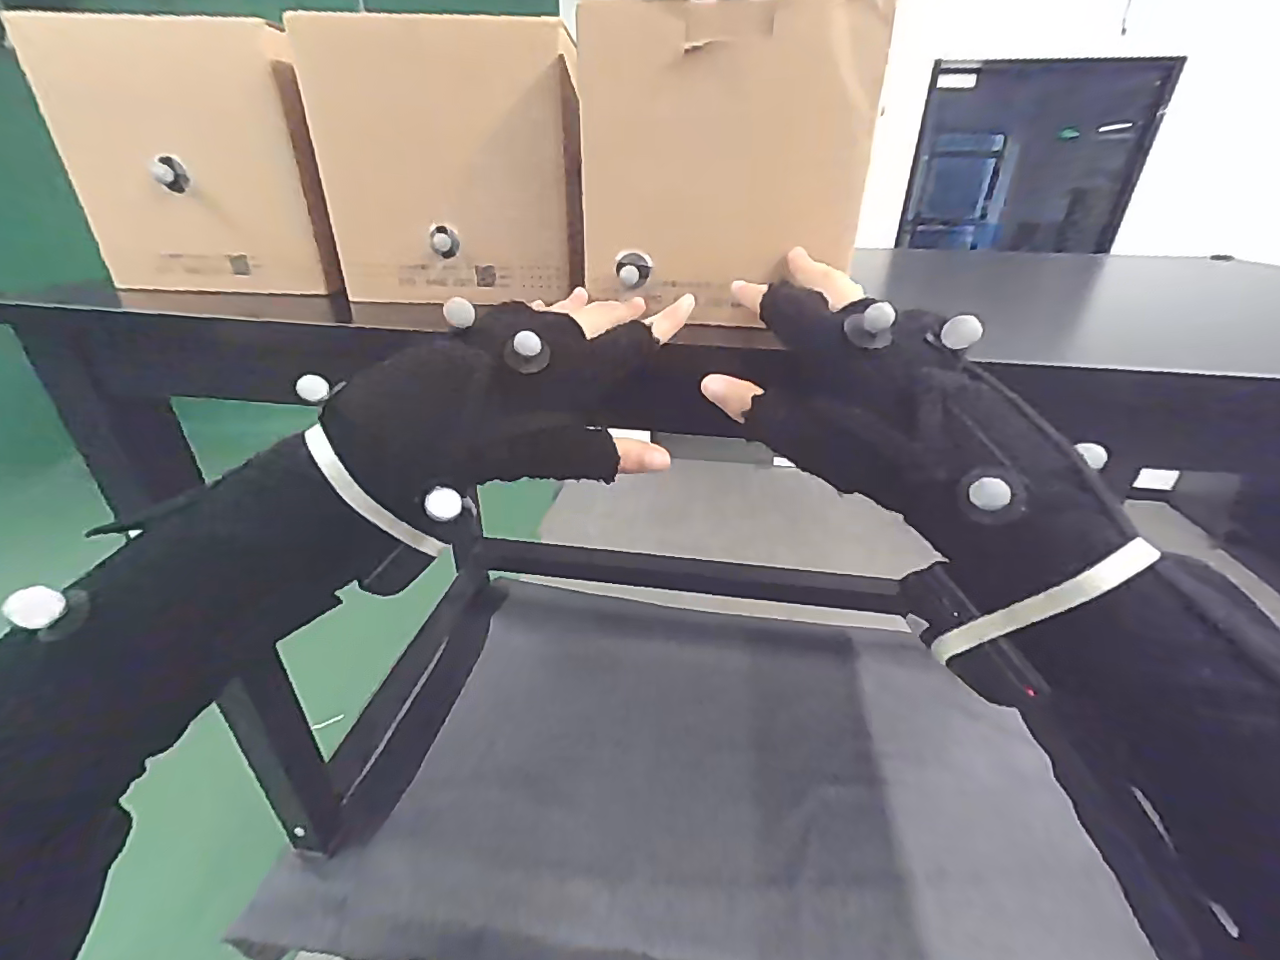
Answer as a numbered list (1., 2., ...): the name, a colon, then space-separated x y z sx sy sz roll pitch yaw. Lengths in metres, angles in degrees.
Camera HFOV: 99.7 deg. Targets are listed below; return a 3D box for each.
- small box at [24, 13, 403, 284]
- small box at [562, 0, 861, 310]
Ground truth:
1. small box: -0.324 -0.268 0.463 0.168 0.176 0.179 3 28 1
2. small box: 0.053 -0.226 0.396 0.168 0.176 0.179 6 28 10
